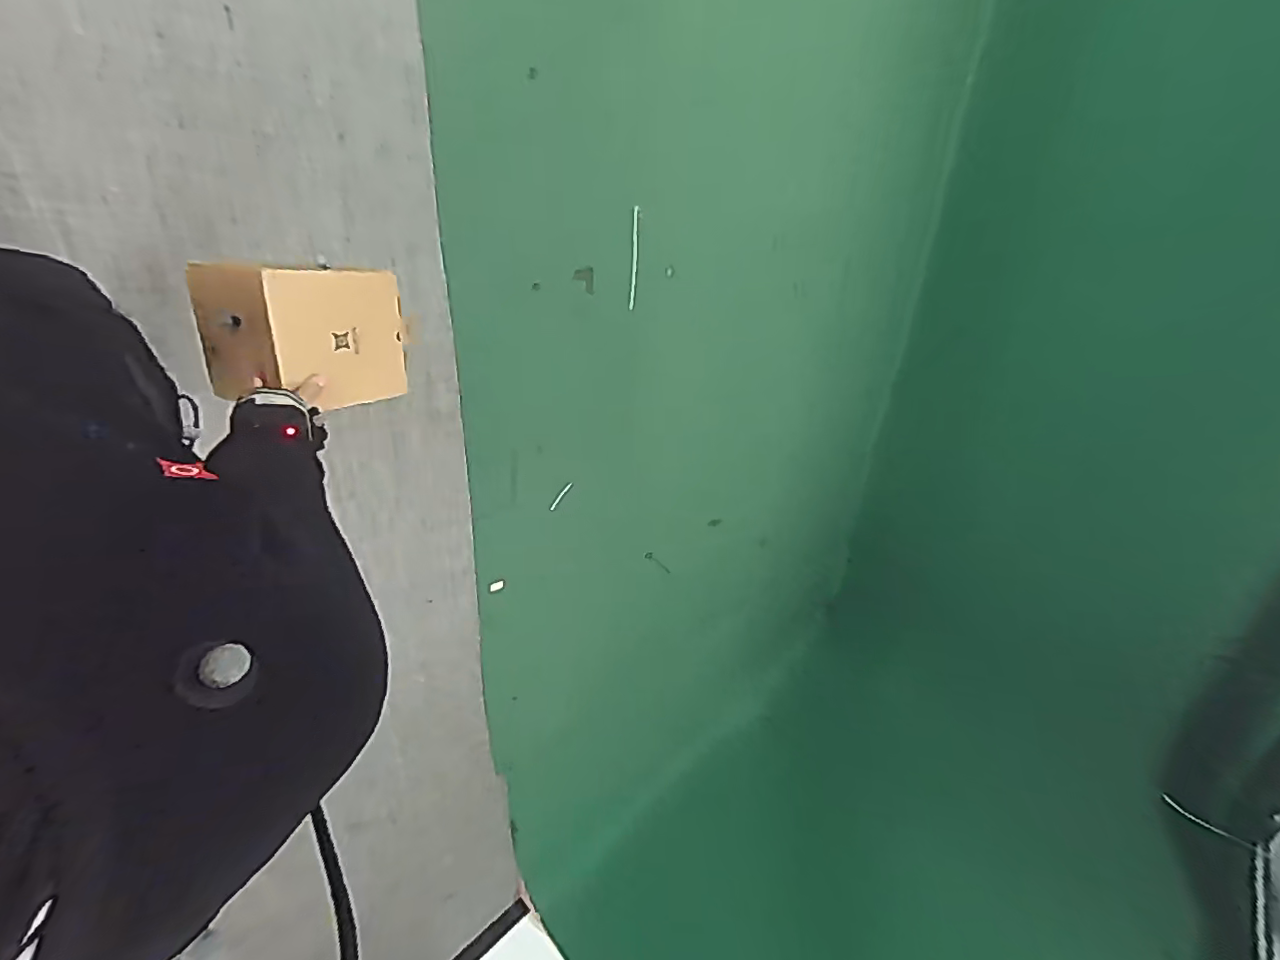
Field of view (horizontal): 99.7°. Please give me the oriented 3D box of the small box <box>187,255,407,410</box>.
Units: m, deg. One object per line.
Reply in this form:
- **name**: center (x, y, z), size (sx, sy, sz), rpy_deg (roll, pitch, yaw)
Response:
- **small box**: center (-0.435, -0.195, 0.694), size (0.179, 0.176, 0.168), rpy_deg (-34, 132, -57)
